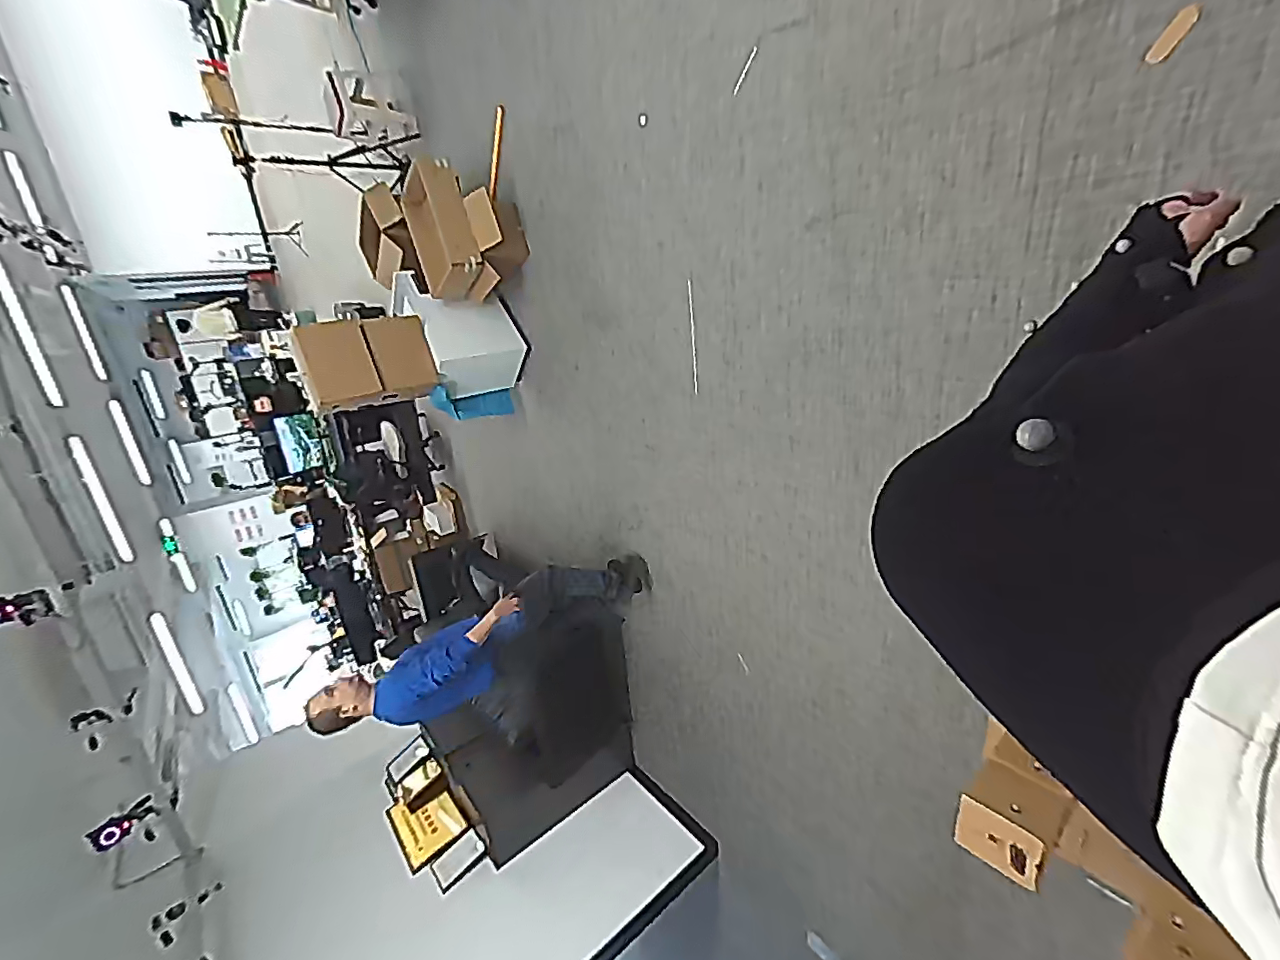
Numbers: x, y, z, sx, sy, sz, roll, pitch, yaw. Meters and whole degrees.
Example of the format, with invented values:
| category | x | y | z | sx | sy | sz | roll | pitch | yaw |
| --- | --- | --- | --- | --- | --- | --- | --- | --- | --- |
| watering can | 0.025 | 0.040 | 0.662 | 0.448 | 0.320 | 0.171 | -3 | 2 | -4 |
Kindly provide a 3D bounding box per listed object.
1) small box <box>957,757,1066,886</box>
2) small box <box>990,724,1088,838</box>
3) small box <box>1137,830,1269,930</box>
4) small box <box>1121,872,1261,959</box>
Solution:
| category | x | y | z | sx | sy | sz | roll | pitch | yaw |
| --- | --- | --- | --- | --- | --- | --- | --- | --- | --- |
| small box | 0.920 | 0.831 | 1.338 | 0.179 | 0.176 | 0.168 | 18 | 120 | 47 |
| small box | 1.046 | 0.781 | 1.432 | 0.179 | 0.176 | 0.168 | 17 | 119 | 47 |
| small box | 1.404 | 1.021 | 1.350 | 0.179 | 0.176 | 0.168 | 28 | 128 | 43 |
| small box | 1.275 | 1.061 | 1.254 | 0.179 | 0.176 | 0.168 | 28 | 128 | 43 |
